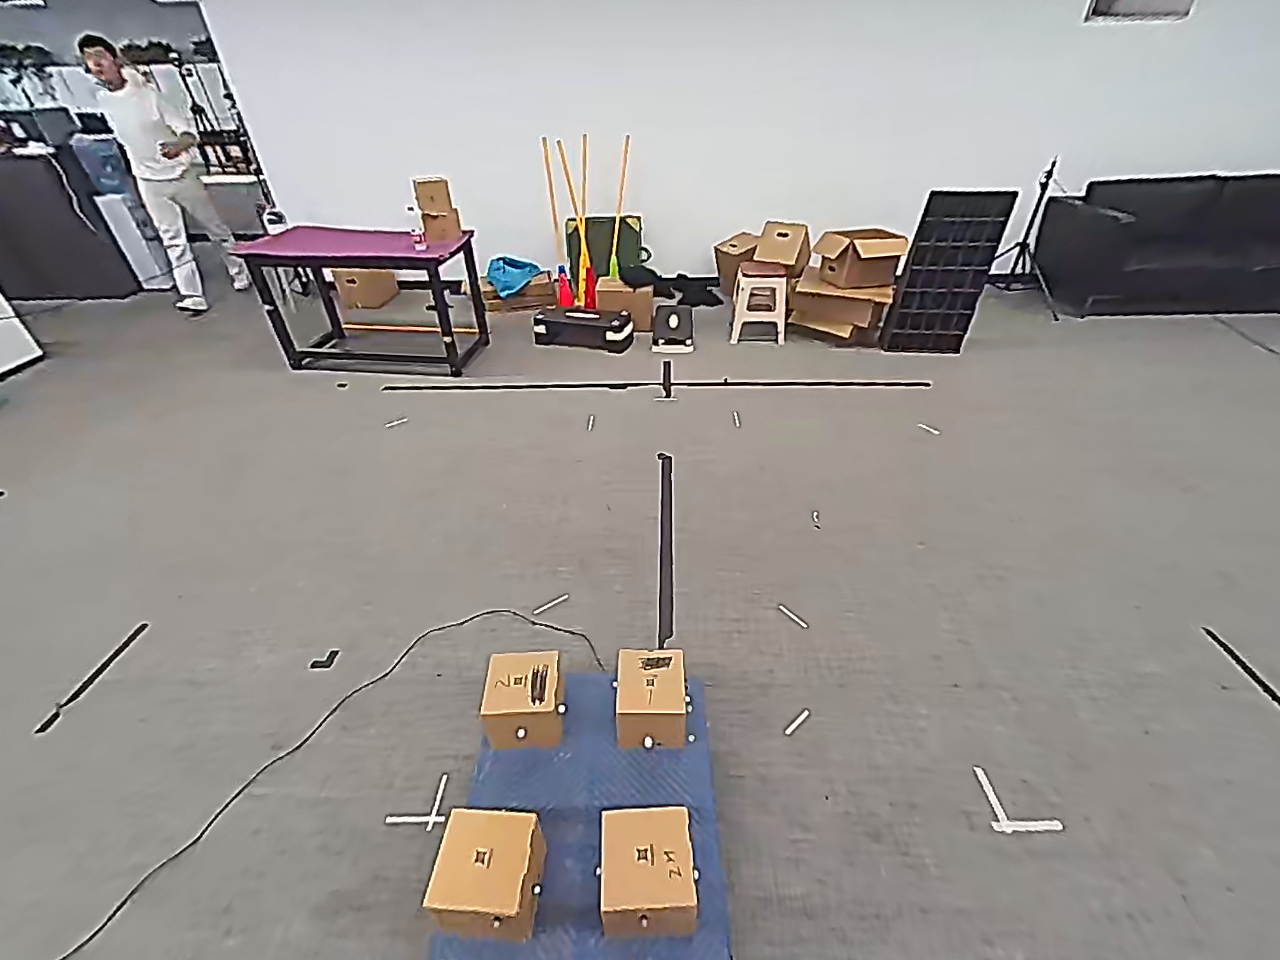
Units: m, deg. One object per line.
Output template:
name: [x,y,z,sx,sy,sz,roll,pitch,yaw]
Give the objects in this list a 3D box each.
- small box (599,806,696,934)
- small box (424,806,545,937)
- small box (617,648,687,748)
small box: [0.014,0.773,1.071,0.179,0.176,0.168,-2,37,-1]
small box: [-0.296,0.777,1.072,0.179,0.176,0.168,3,36,2]
small box: [0.030,0.550,1.369,0.168,0.176,0.179,0,38,1]
